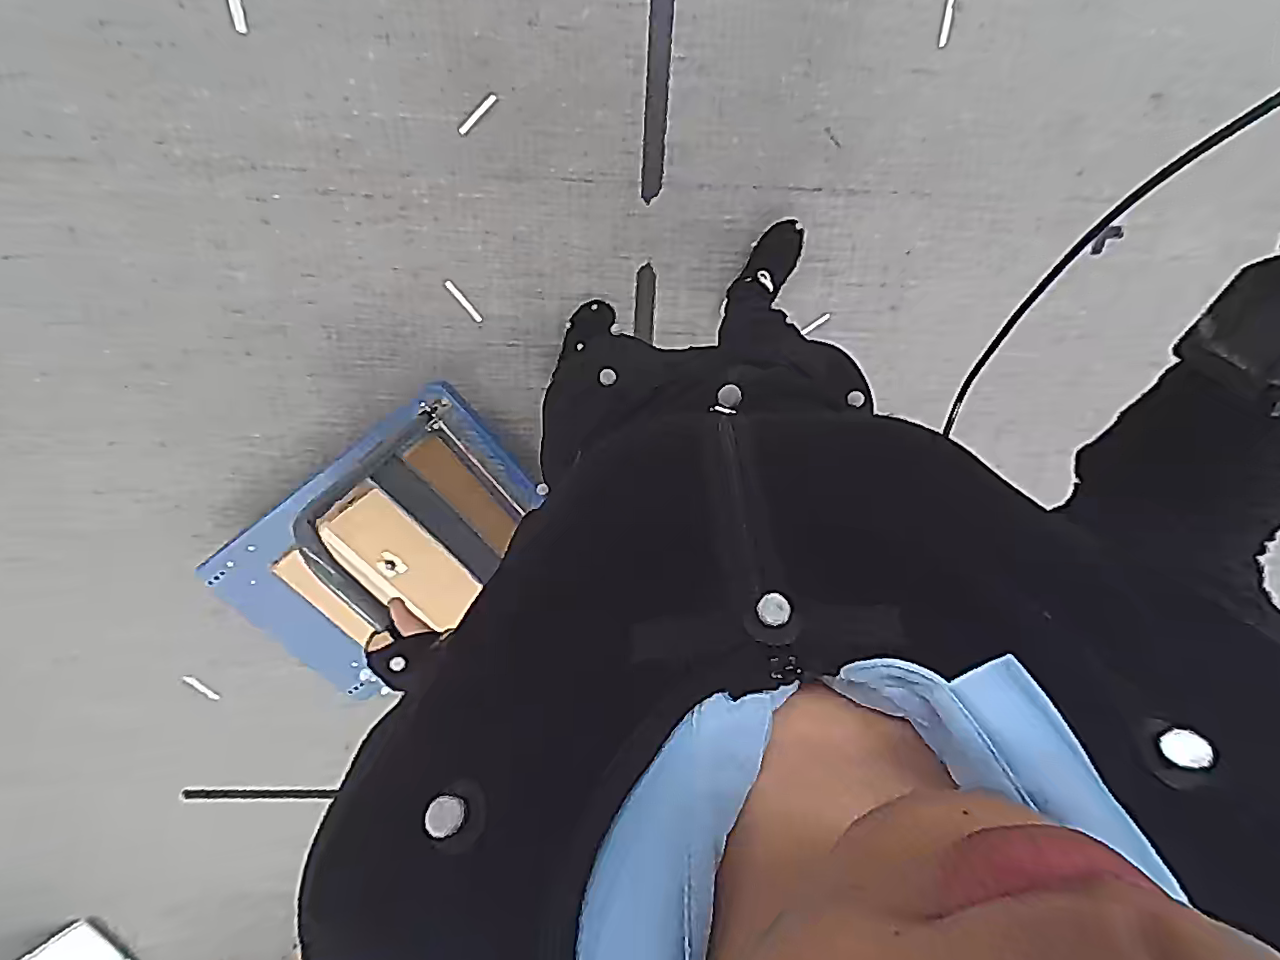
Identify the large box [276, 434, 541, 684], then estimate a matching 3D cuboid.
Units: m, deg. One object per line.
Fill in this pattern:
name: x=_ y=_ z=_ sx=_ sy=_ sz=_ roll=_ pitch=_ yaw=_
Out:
large box: x=-0.489 y=0.171 z=1.242 sx=0.320 sy=0.320 sz=0.408 roll=-34 pitch=110 yaw=11
